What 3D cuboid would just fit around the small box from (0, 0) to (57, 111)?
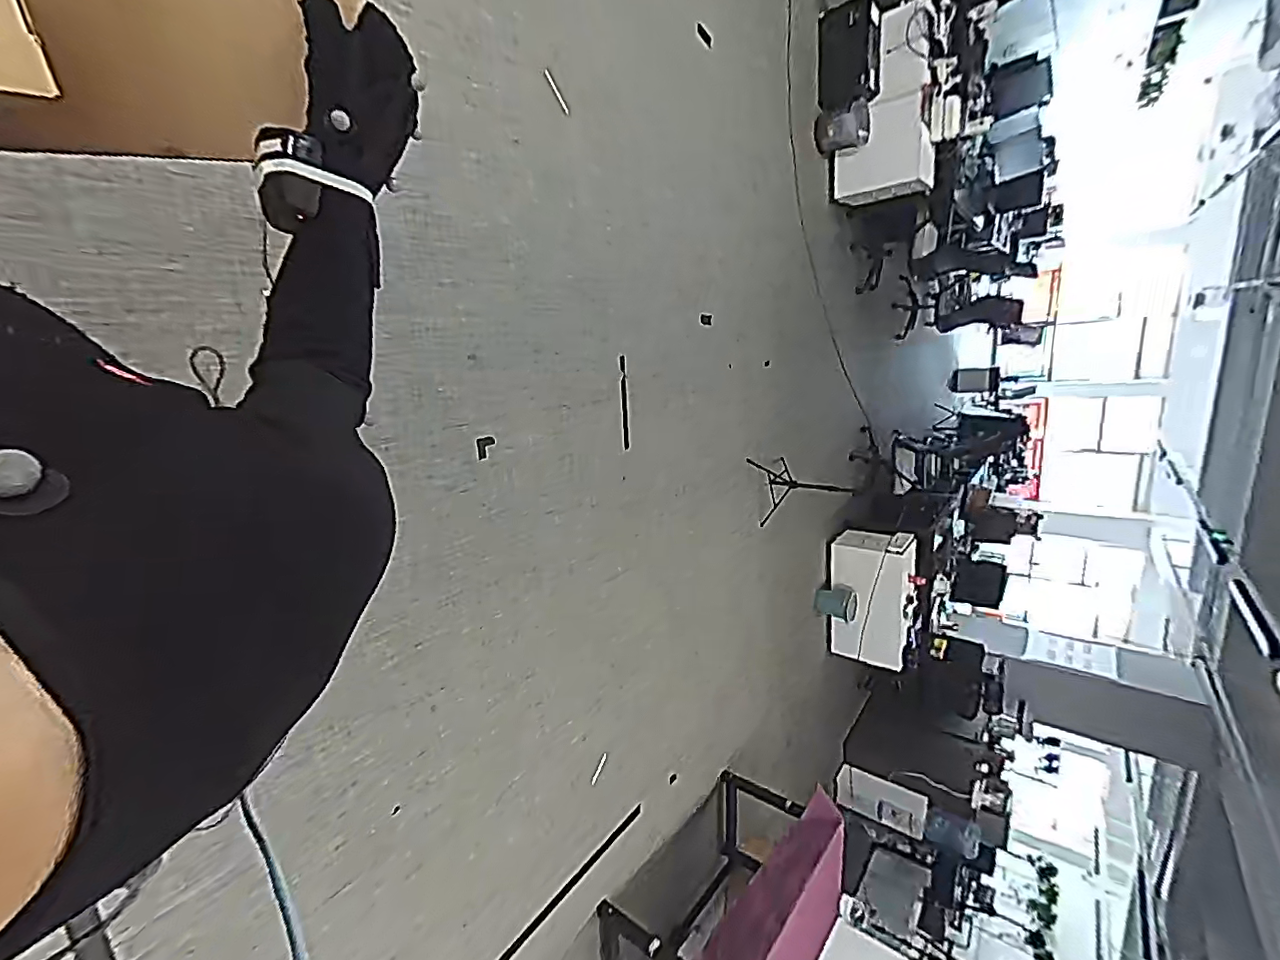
[{"bbox_3d":[-0.464,-0.283,0.255,0.179,0.176,0.168,-45,140,-56],"label":"small box"}]
